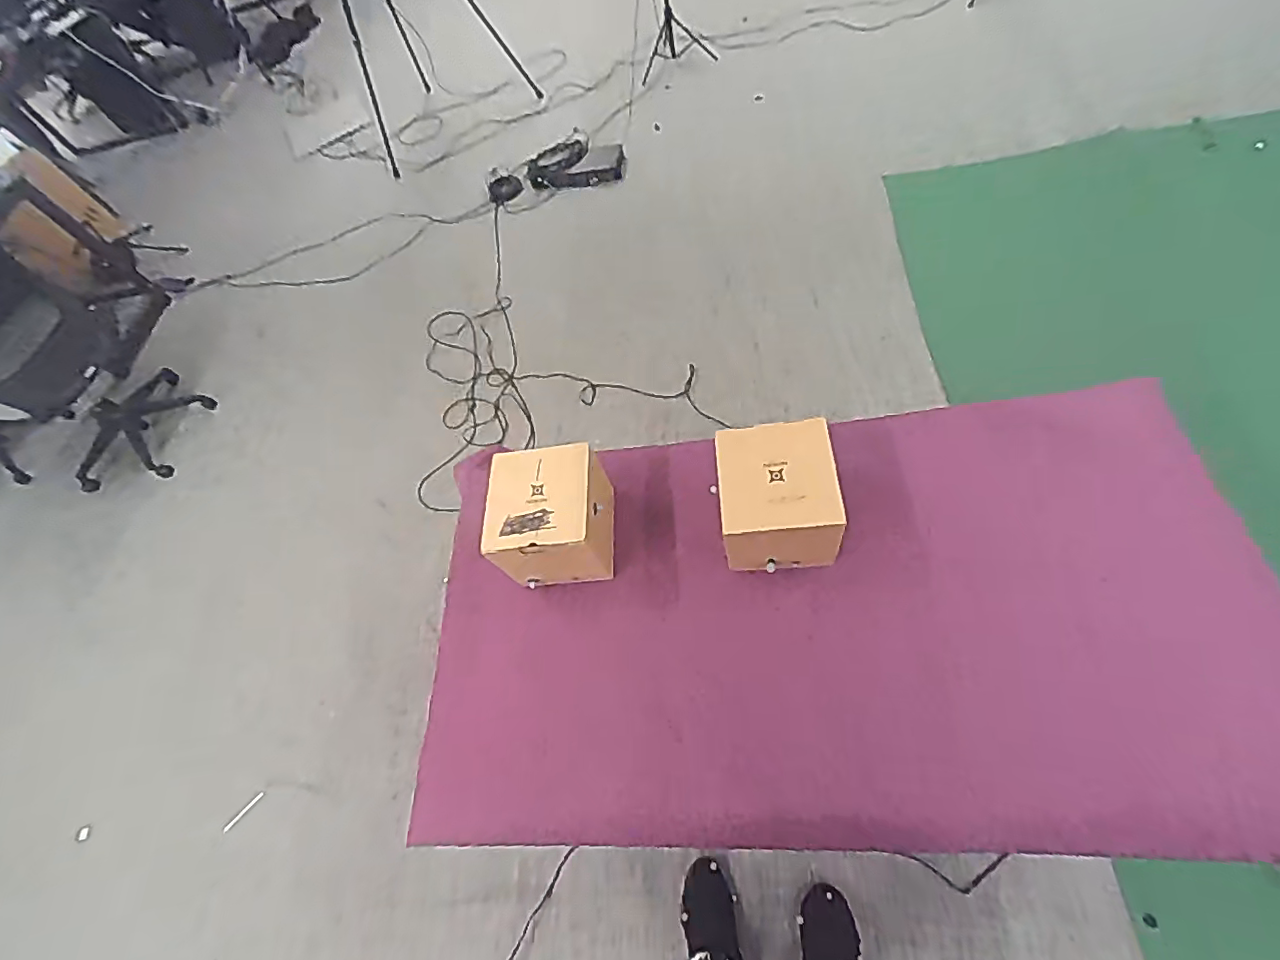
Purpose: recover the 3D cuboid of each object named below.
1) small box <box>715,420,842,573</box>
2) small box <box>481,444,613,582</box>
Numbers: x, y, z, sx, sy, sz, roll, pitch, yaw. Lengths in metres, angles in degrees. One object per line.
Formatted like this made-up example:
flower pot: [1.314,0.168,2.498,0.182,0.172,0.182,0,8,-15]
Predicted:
small box: [0.207,0.031,0.840,0.168,0.176,0.179,-6,61,11]
small box: [-0.144,0.064,0.904,0.168,0.176,0.179,-6,59,9]
